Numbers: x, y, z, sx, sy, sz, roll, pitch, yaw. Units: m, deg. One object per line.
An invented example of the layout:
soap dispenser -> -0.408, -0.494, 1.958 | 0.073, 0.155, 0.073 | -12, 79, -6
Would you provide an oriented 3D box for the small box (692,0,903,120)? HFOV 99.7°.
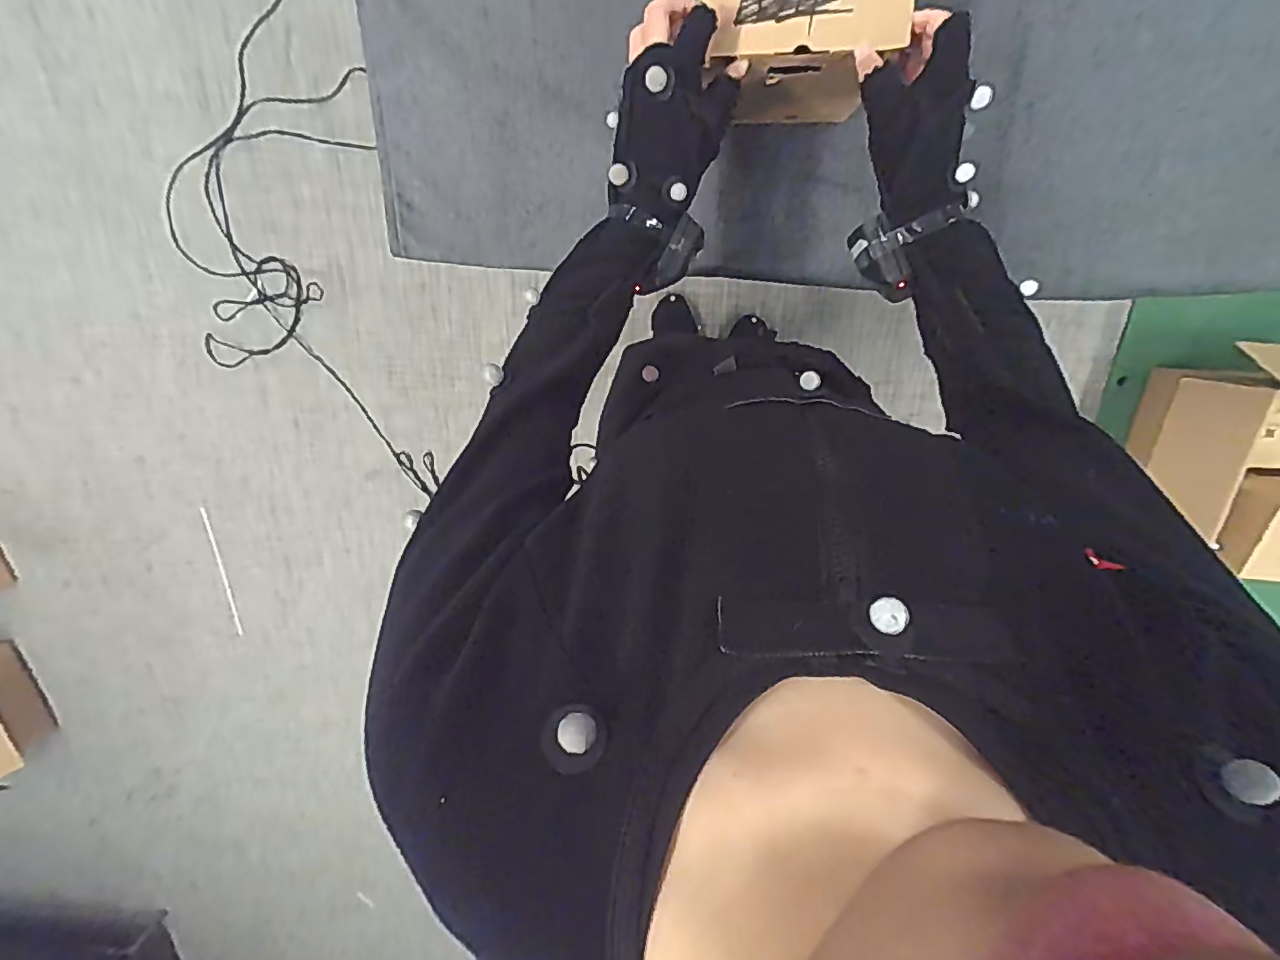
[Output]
small box -> 0.134, -0.447, 0.490 | 0.168, 0.176, 0.179 | 2, 109, 4
